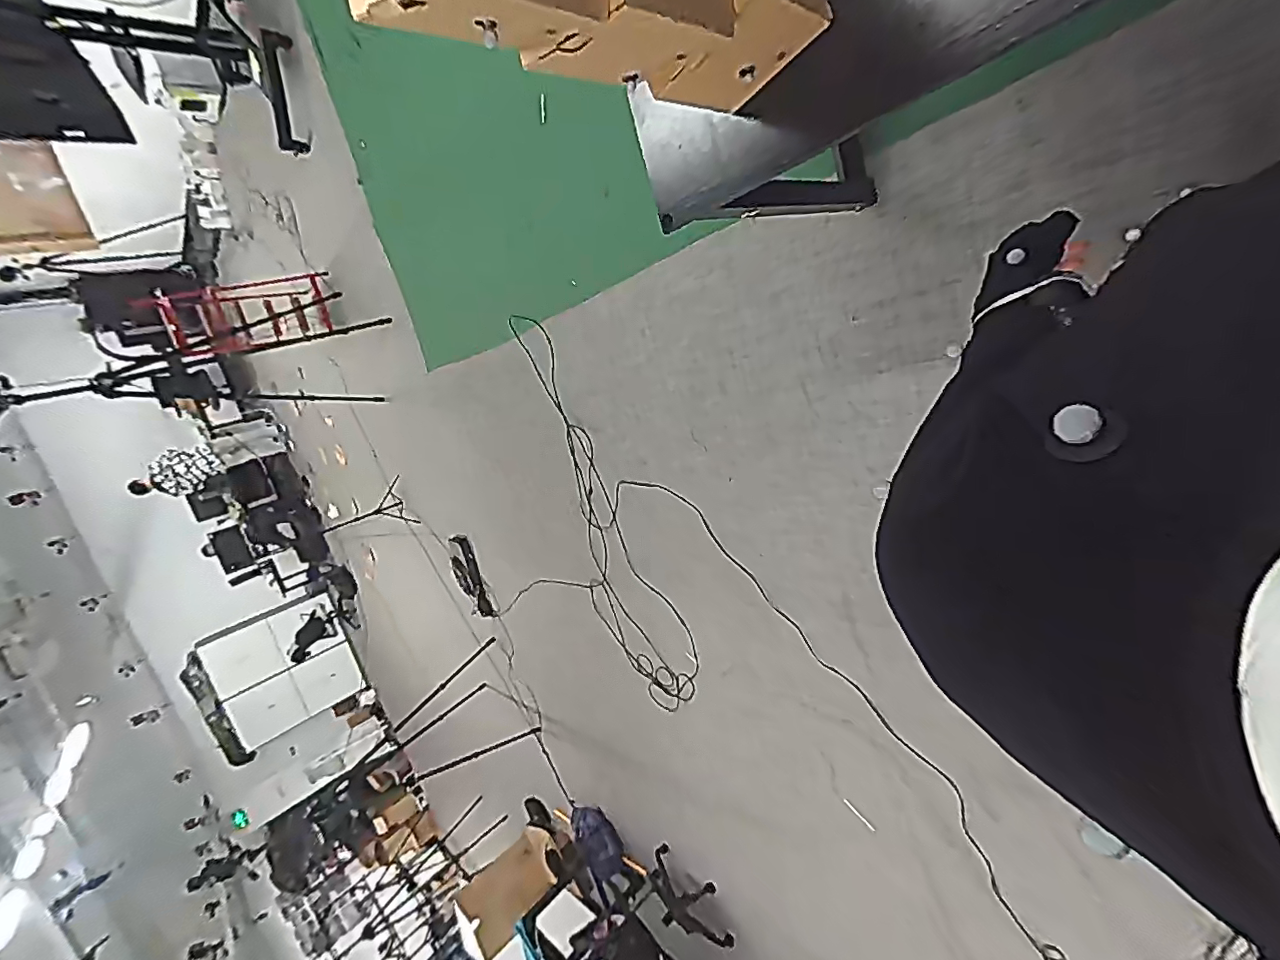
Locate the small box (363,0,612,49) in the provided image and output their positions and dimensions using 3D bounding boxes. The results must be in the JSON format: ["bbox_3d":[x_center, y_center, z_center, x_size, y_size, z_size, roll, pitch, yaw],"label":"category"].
[{"bbox_3d":[-0.133,-0.486,0.455,0.168,0.176,0.179,24,127,36],"label":"small box"}]

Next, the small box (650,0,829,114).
[{"bbox_3d":[0.101,-0.589,0.663,0.168,0.176,0.179,-17,98,49],"label":"small box"}]

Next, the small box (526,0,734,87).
[{"bbox_3d":[-0.016,-0.535,0.560,0.168,0.176,0.179,13,118,43],"label":"small box"}]
